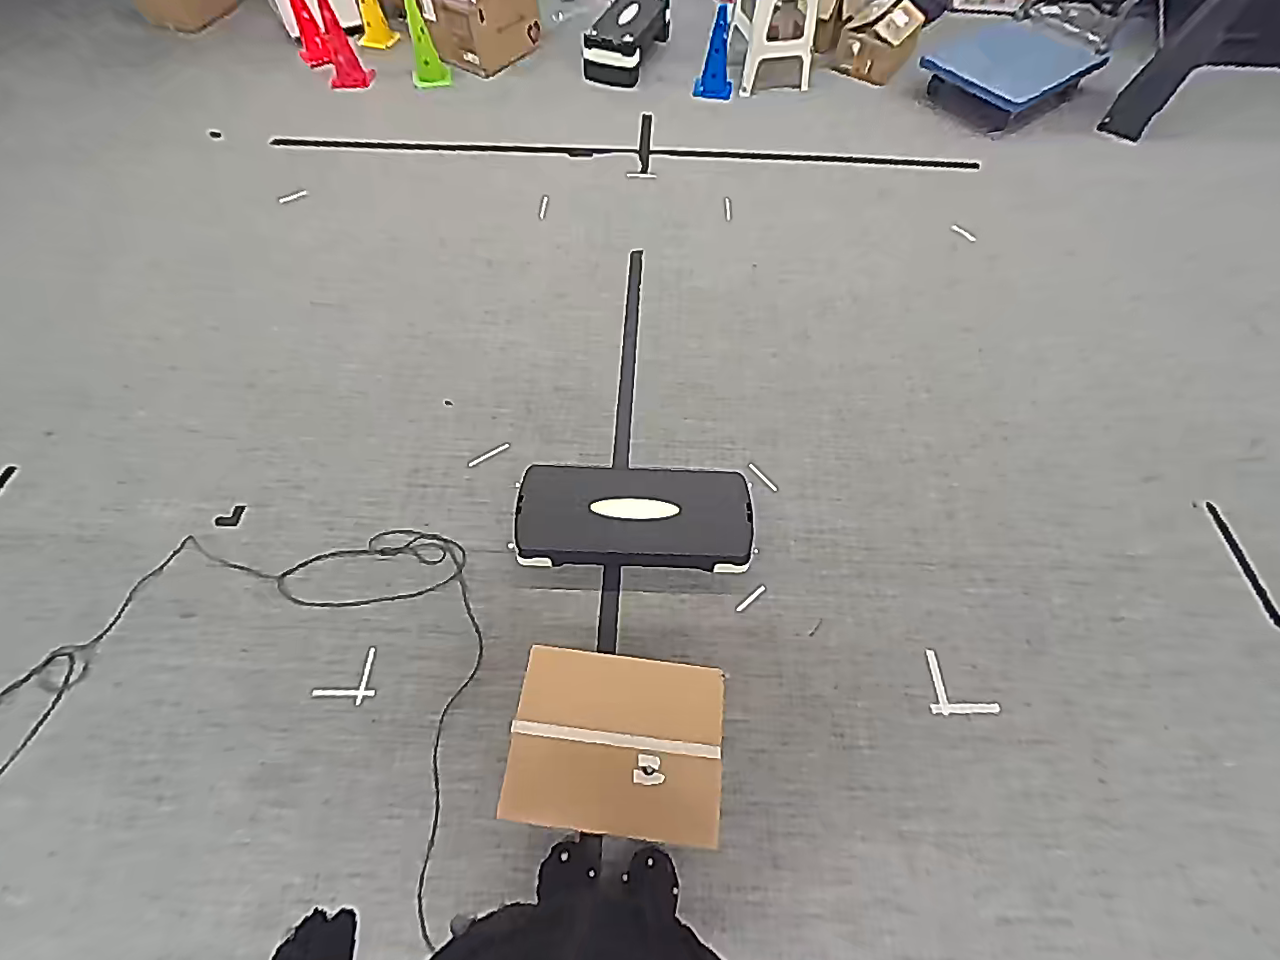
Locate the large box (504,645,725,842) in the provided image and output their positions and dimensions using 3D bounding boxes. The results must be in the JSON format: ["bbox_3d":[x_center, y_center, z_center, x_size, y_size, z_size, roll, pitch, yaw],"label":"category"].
[{"bbox_3d":[-0.044,0.572,1.173,0.408,0.320,0.320,7,60,1],"label":"large box"}]
